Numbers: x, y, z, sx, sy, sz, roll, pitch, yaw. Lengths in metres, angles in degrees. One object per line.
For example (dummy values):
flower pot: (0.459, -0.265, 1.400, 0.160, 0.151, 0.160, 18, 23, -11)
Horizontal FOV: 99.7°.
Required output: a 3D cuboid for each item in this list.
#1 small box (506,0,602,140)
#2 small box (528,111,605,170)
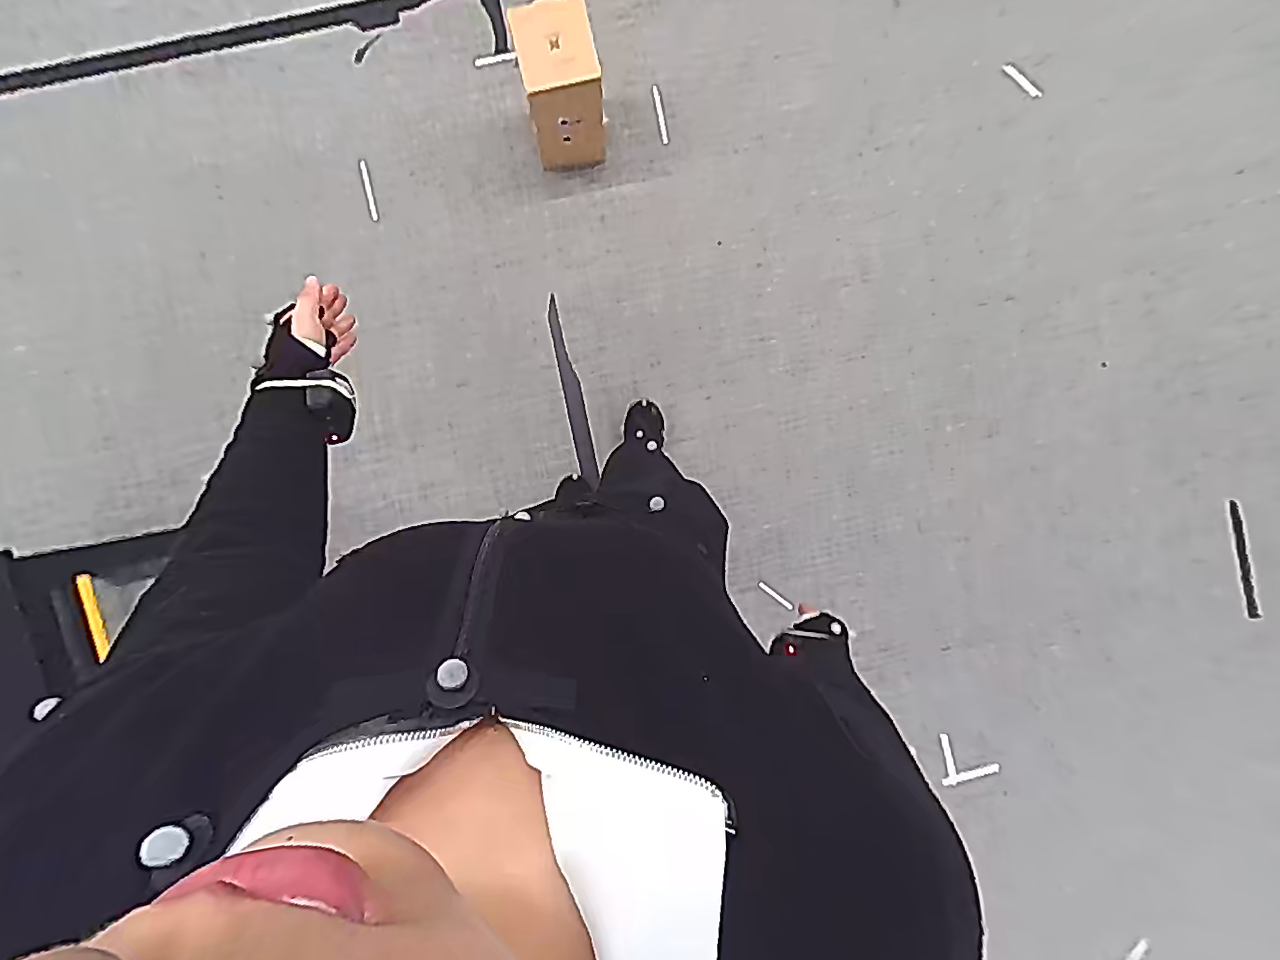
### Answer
small box: (-0.184, -0.905, 1.205, 0.168, 0.176, 0.179, -15, 95, -1)
small box: (-0.187, -0.913, 1.367, 0.179, 0.176, 0.168, -10, 94, -4)
